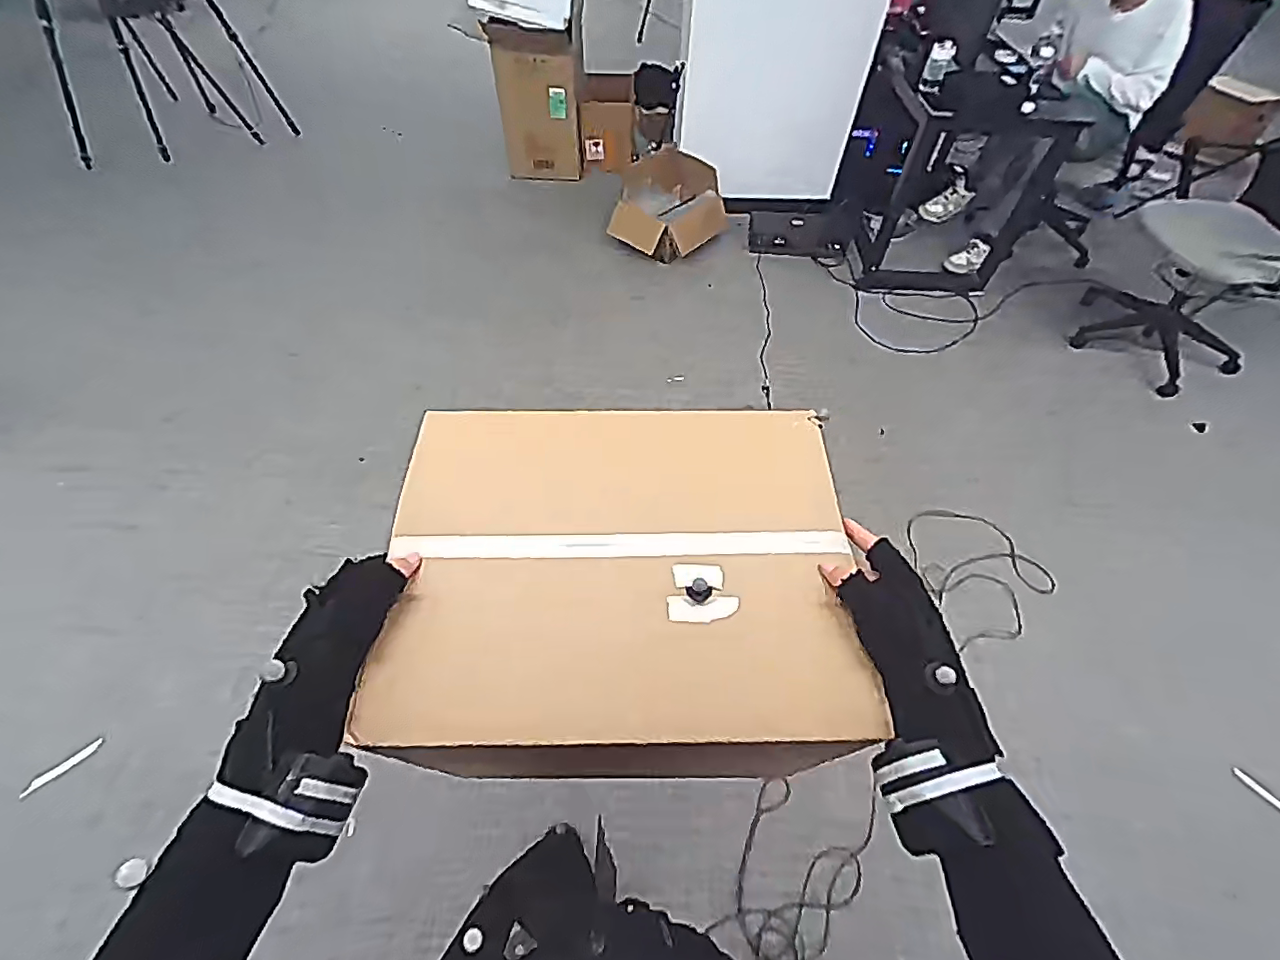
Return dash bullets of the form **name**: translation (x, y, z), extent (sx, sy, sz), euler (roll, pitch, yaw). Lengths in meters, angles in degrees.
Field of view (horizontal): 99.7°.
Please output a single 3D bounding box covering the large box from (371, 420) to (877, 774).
- **large box**: translation (-0.017, 0.145, 0.623), extent (0.408, 0.320, 0.320), euler (0, 57, -1)
